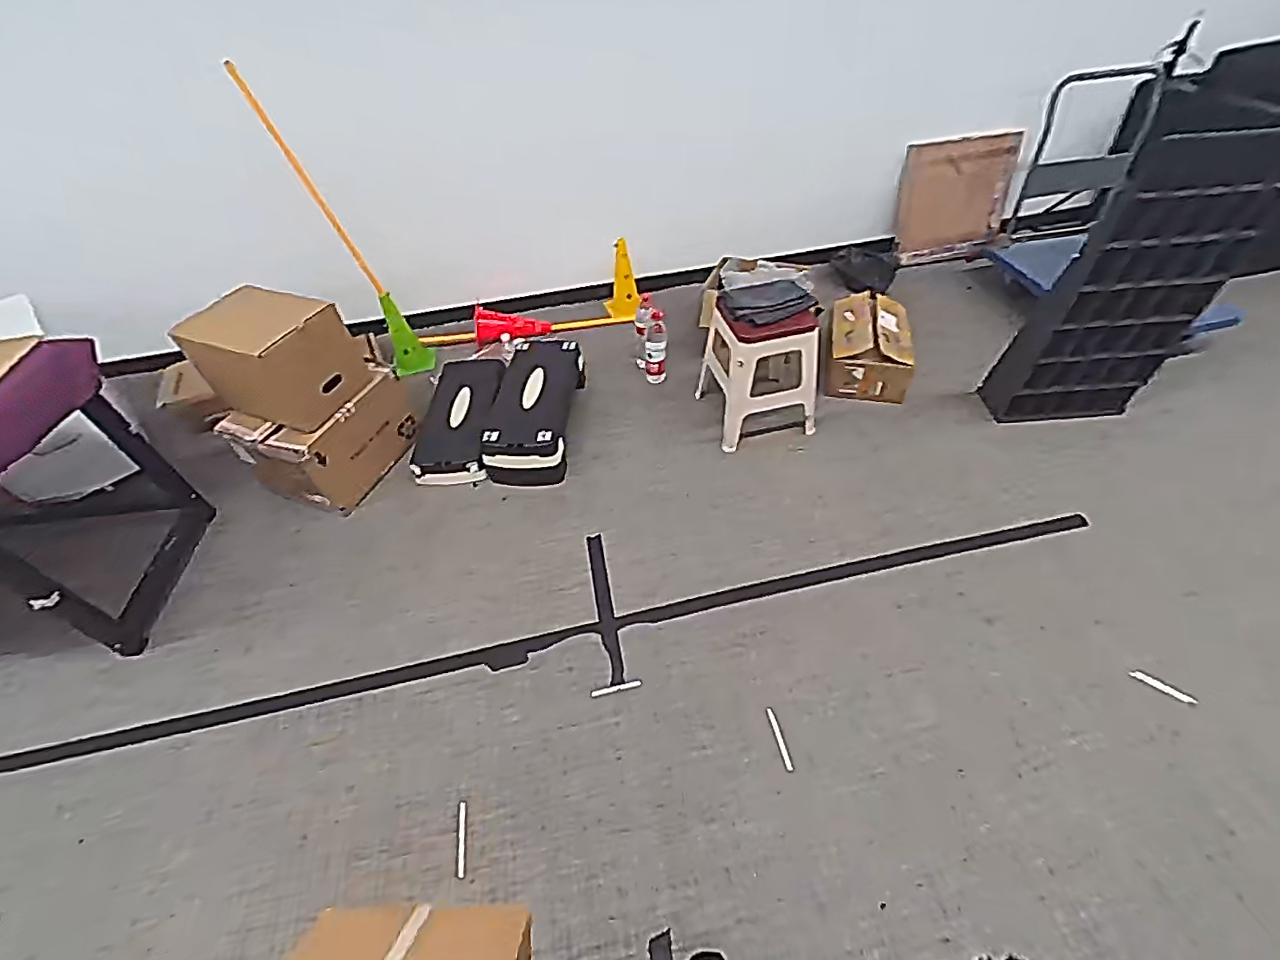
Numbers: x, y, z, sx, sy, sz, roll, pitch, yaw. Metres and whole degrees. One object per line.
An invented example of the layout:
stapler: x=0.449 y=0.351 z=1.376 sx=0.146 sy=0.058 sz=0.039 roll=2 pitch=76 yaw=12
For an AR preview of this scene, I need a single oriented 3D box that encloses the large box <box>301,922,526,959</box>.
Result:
large box: x=-0.320 y=0.802 z=0.604 sx=0.320 sy=0.408 sz=0.320 roll=-3 pitch=85 yaw=1
